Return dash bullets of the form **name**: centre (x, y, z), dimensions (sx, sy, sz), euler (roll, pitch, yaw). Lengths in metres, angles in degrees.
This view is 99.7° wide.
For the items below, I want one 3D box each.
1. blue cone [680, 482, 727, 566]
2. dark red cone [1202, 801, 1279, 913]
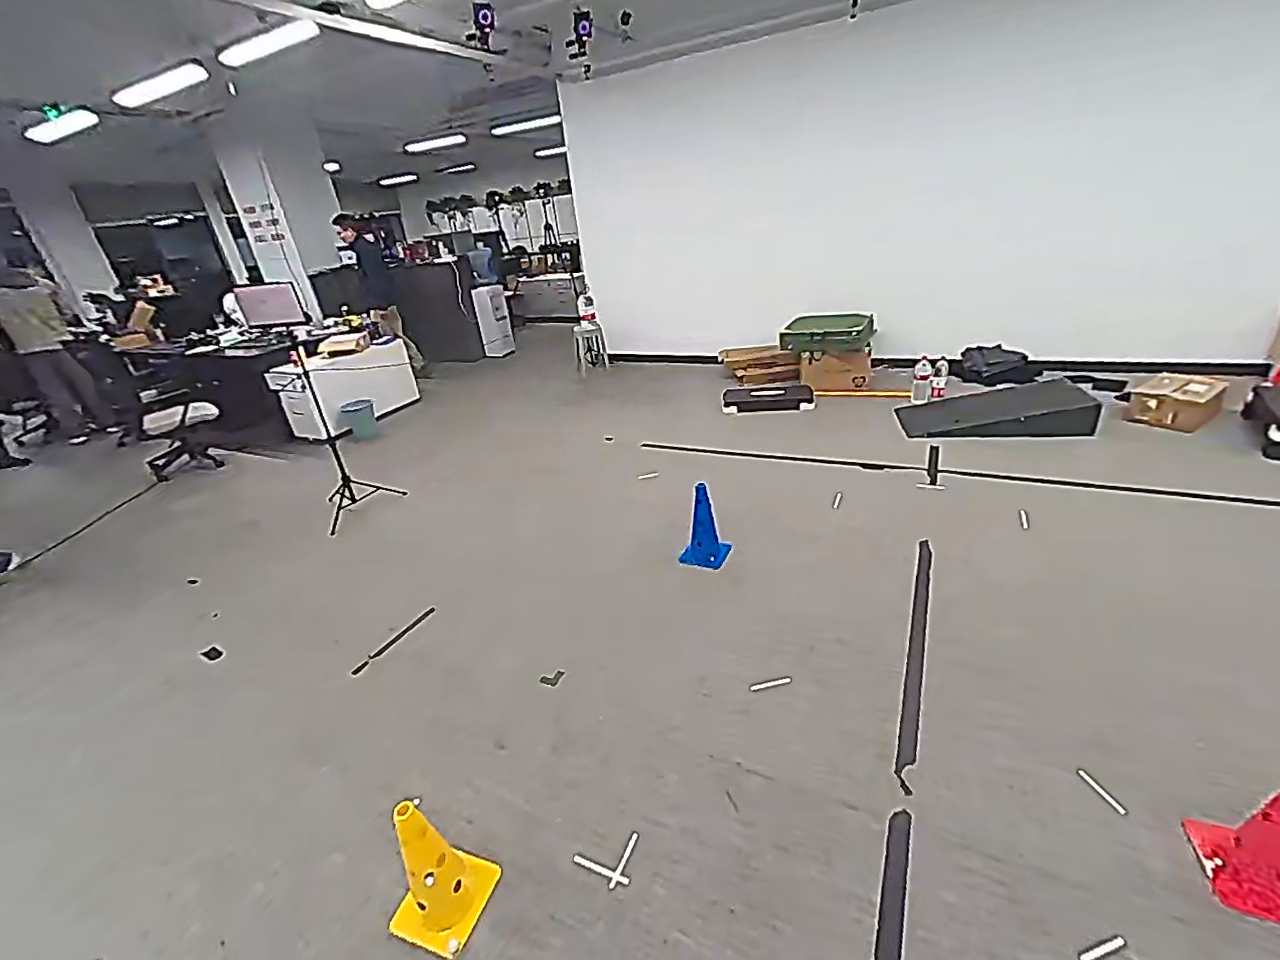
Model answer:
- **blue cone**: centre (0.271, 0.183, 2.384), dimensions (0.192, 0.380, 0.193), euler (7, 30, 28)
- **dark red cone**: centre (1.338, 0.679, 1.075), dimensions (0.201, 0.394, 0.202), euler (2, 28, 20)
